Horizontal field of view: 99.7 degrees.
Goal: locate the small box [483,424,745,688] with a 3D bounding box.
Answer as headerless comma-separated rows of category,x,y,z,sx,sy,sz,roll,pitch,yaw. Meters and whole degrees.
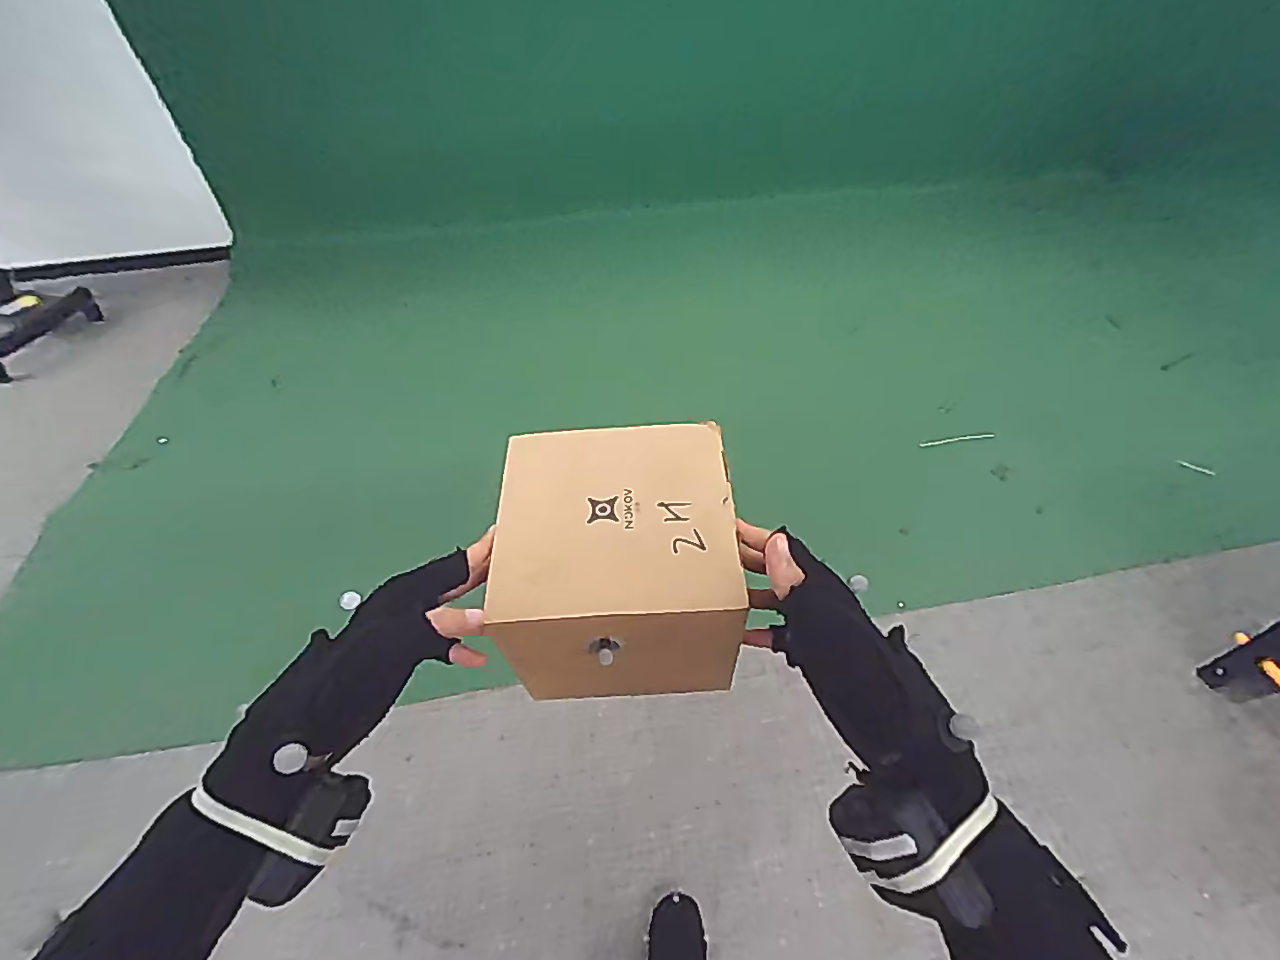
small box,-0.014,0.071,0.462,0.179,0.176,0.168,-2,53,1
